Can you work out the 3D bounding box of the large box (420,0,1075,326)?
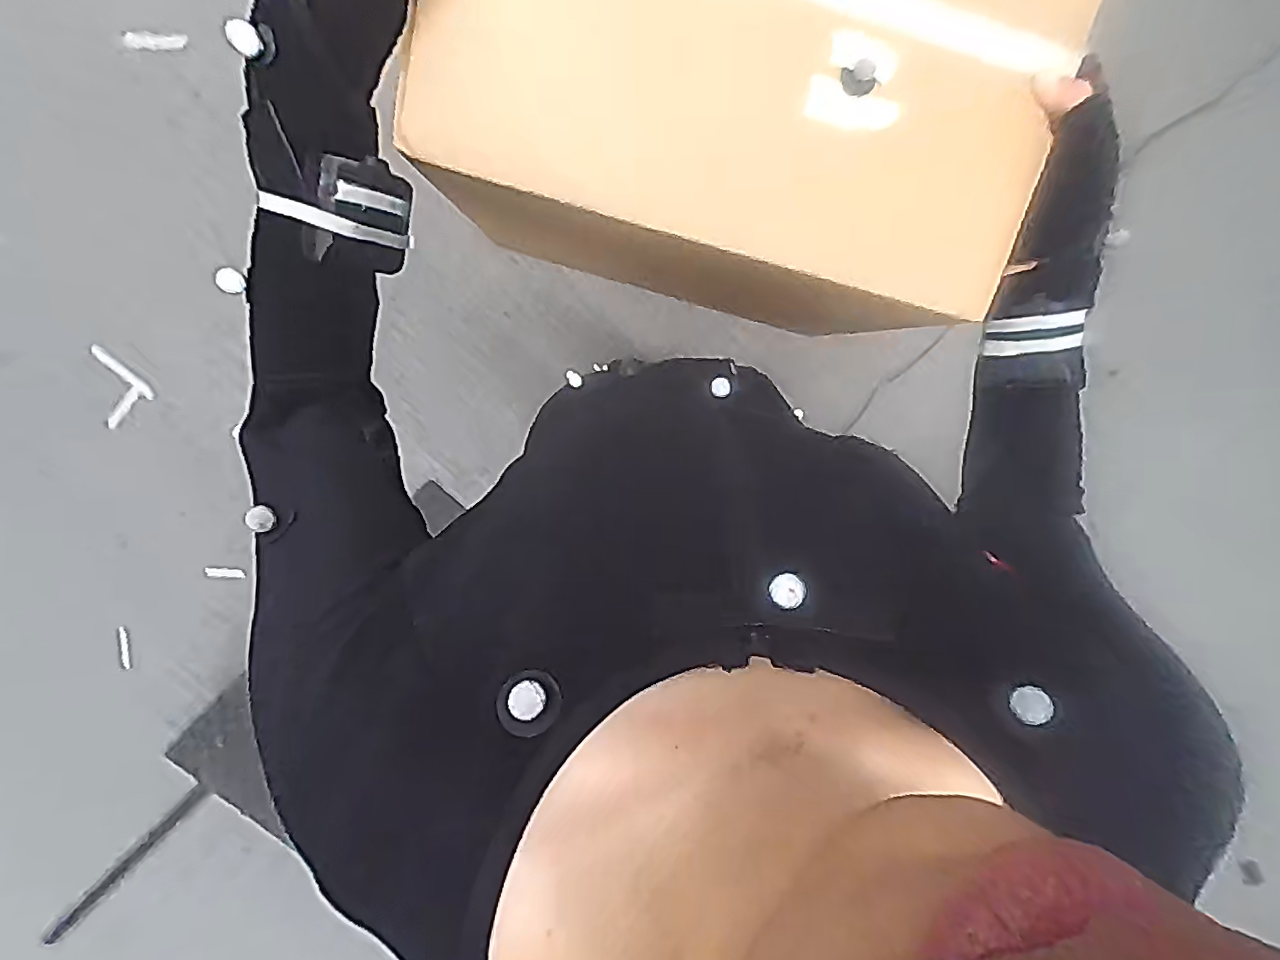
[{"bbox_3d":[0.068,-0.344,0.485,0.408,0.320,0.320,12,103,-7],"label":"large box"}]
